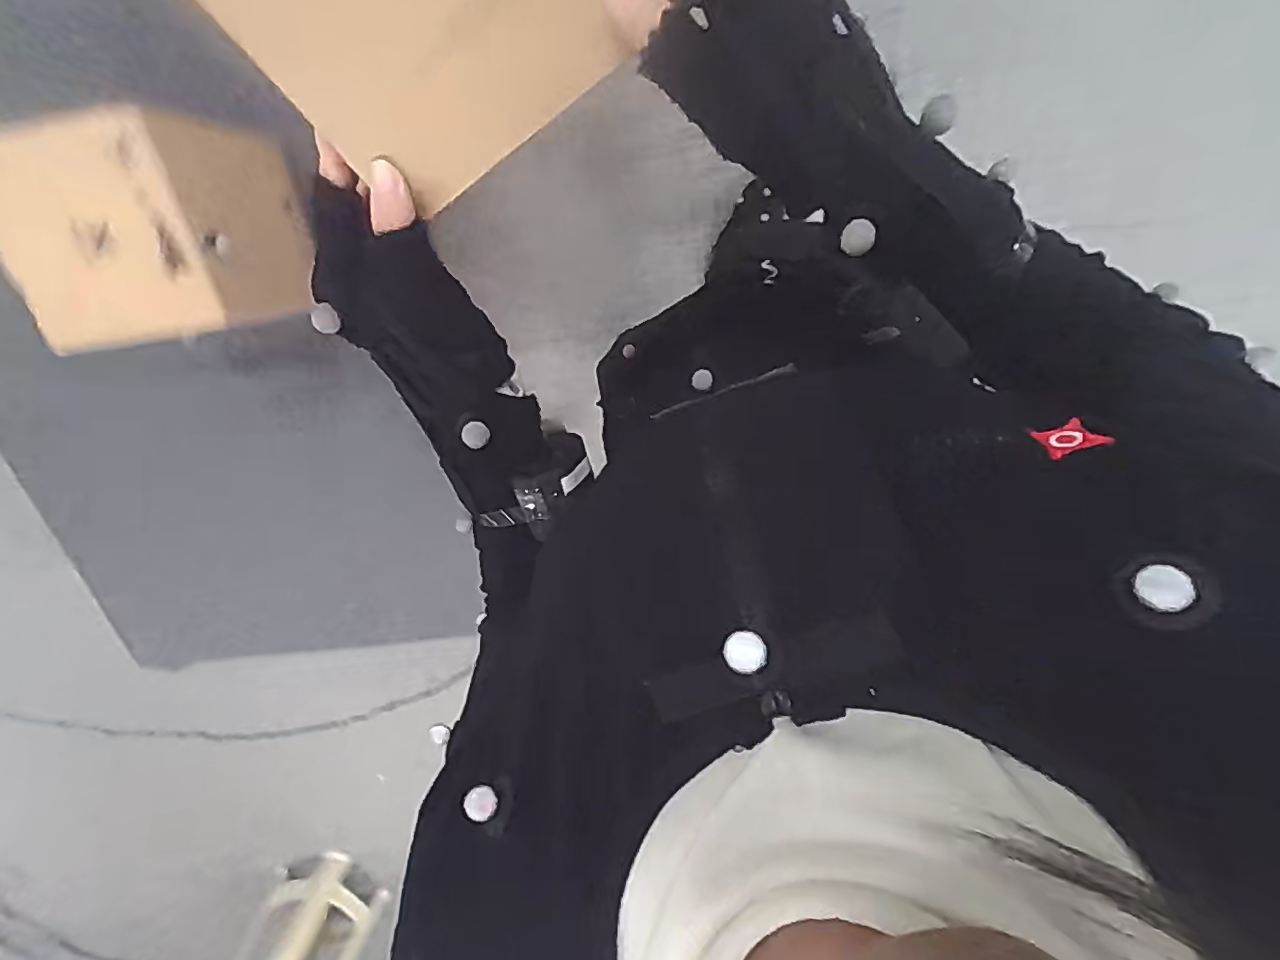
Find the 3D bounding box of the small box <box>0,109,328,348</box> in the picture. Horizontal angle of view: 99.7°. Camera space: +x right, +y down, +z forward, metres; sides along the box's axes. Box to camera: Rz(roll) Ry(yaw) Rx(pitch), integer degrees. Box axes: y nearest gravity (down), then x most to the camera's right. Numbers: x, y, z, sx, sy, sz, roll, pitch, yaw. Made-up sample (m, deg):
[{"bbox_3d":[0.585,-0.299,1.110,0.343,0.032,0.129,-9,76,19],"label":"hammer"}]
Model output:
[{"bbox_3d":[-0.453,-0.233,0.524,0.179,0.176,0.168,-6,114,7],"label":"small box"}]
